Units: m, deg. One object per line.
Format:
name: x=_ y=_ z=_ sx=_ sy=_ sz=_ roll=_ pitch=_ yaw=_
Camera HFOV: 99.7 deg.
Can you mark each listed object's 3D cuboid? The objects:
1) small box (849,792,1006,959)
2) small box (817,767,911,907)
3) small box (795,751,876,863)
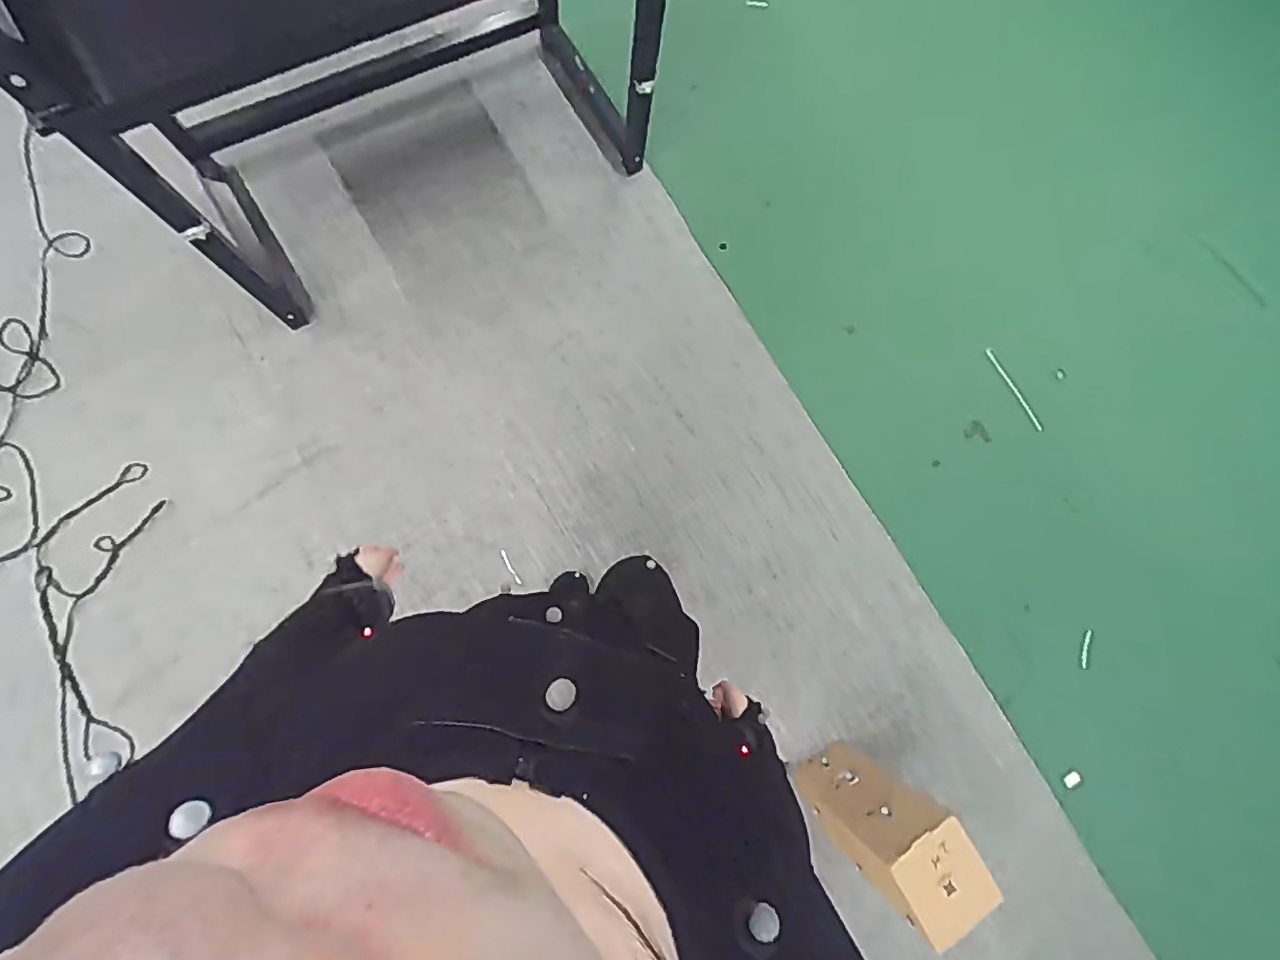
small box: x=0.552 y=0.761 z=1.060 sx=0.168 sy=0.176 sz=0.179 roll=-28 pitch=84 yaw=-11
small box: x=0.539 y=0.792 z=1.222 sx=0.168 sy=0.176 sz=0.179 roll=-28 pitch=83 yaw=-11
small box: x=0.526 y=0.821 z=1.381 sx=0.168 sy=0.176 sz=0.179 roll=-25 pitch=82 yaw=-9
